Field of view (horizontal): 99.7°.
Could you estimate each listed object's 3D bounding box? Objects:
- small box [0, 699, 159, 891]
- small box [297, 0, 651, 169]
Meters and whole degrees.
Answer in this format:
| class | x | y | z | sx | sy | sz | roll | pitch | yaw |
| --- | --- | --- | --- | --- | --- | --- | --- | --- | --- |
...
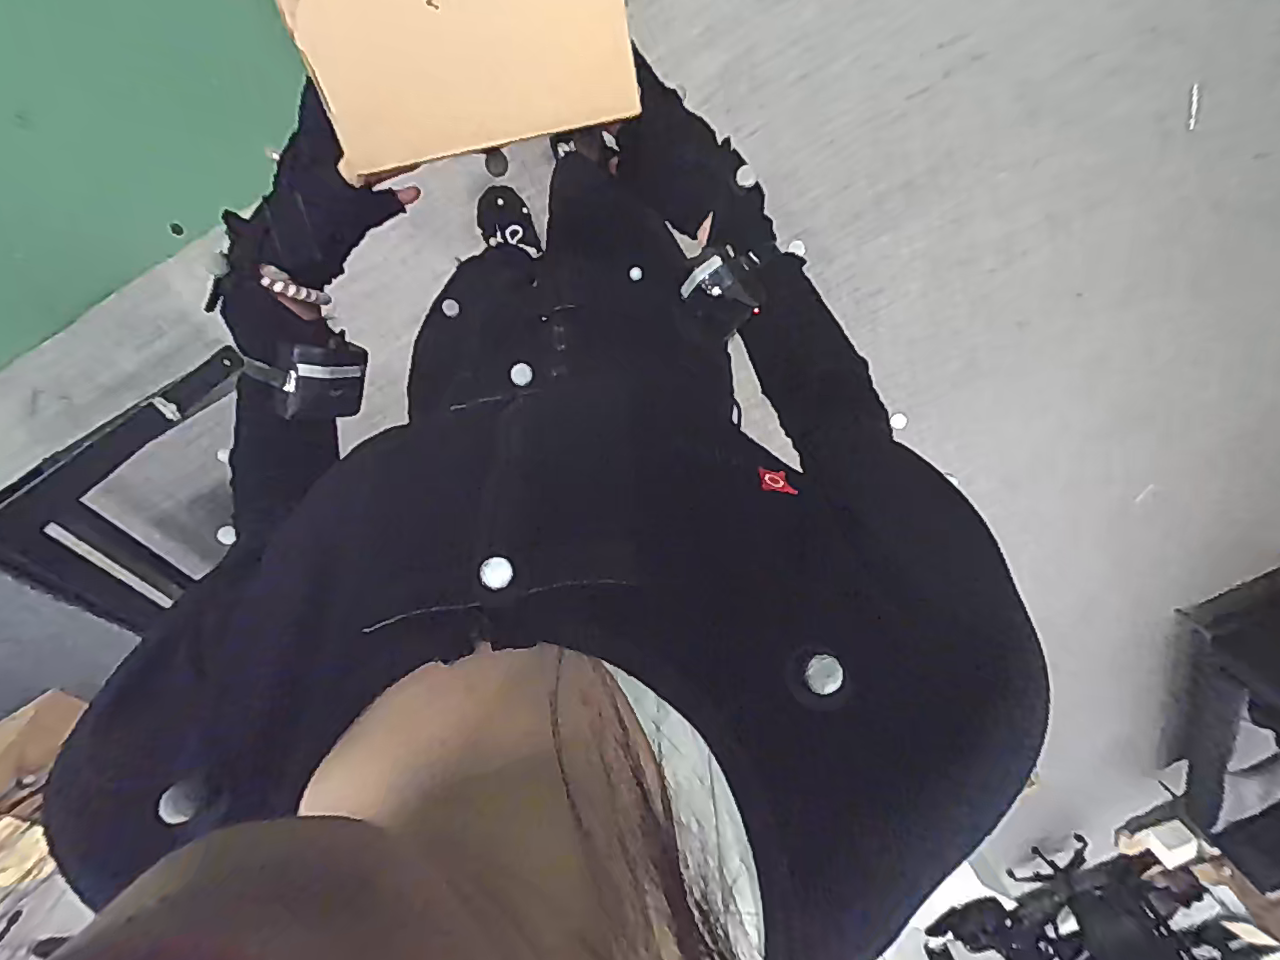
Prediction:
| class | x | y | z | sx | sy | sz | roll | pitch | yaw |
| --- | --- | --- | --- | --- | --- | --- | --- | --- | --- |
| small box | -0.885 | 0.451 | 0.793 | 0.168 | 0.176 | 0.179 | -30 | 123 | 7 |
| small box | -0.105 | -0.312 | 0.337 | 0.179 | 0.176 | 0.168 | -15 | 126 | -2 |
